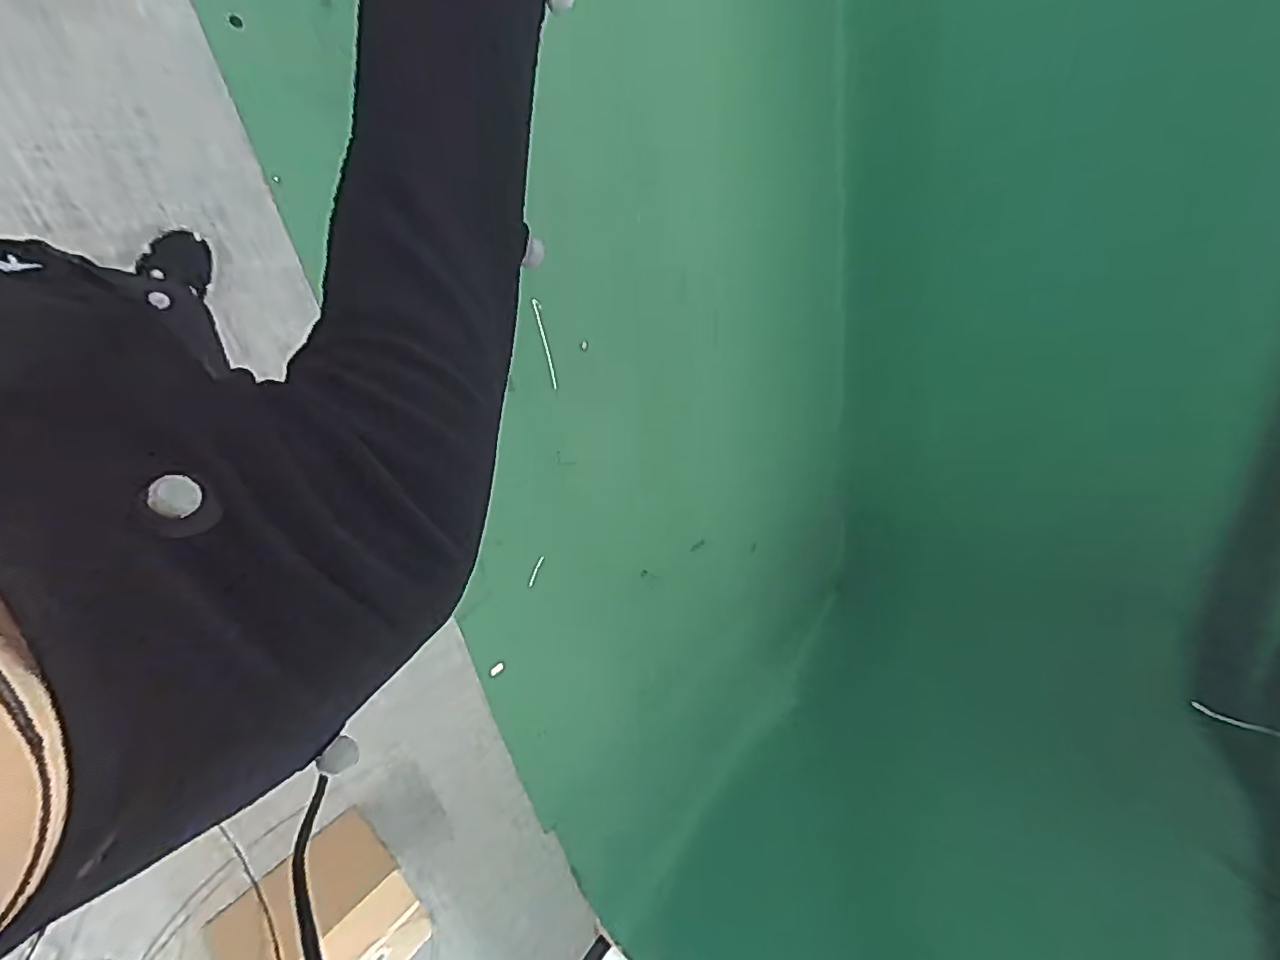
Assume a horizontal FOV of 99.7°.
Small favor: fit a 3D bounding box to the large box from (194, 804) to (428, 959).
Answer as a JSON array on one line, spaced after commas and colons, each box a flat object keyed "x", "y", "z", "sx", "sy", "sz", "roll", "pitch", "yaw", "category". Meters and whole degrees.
[{"x": -0.880, "y": 1.213, "z": 1.473, "sx": 0.408, "sy": 0.320, "sz": 0.320, "roll": -35, "pitch": 125, "yaw": -41, "category": "large box"}]
